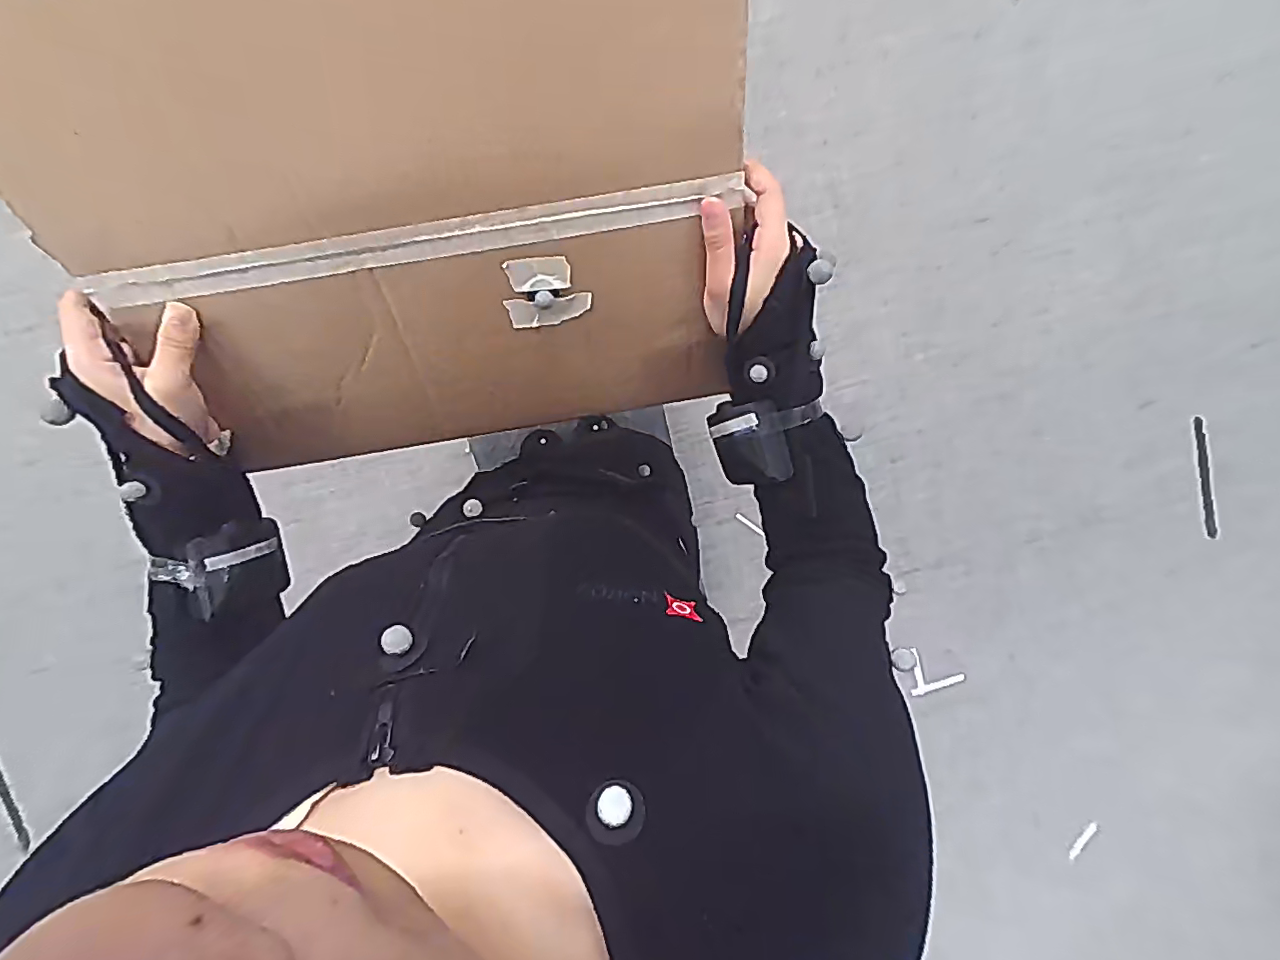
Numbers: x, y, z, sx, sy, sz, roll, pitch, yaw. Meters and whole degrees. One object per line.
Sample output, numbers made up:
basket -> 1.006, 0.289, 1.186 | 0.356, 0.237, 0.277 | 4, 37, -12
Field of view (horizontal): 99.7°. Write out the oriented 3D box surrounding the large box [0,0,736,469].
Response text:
large box -> -0.158, -0.255, 0.451 | 0.408, 0.320, 0.320 | -11, 136, -3
